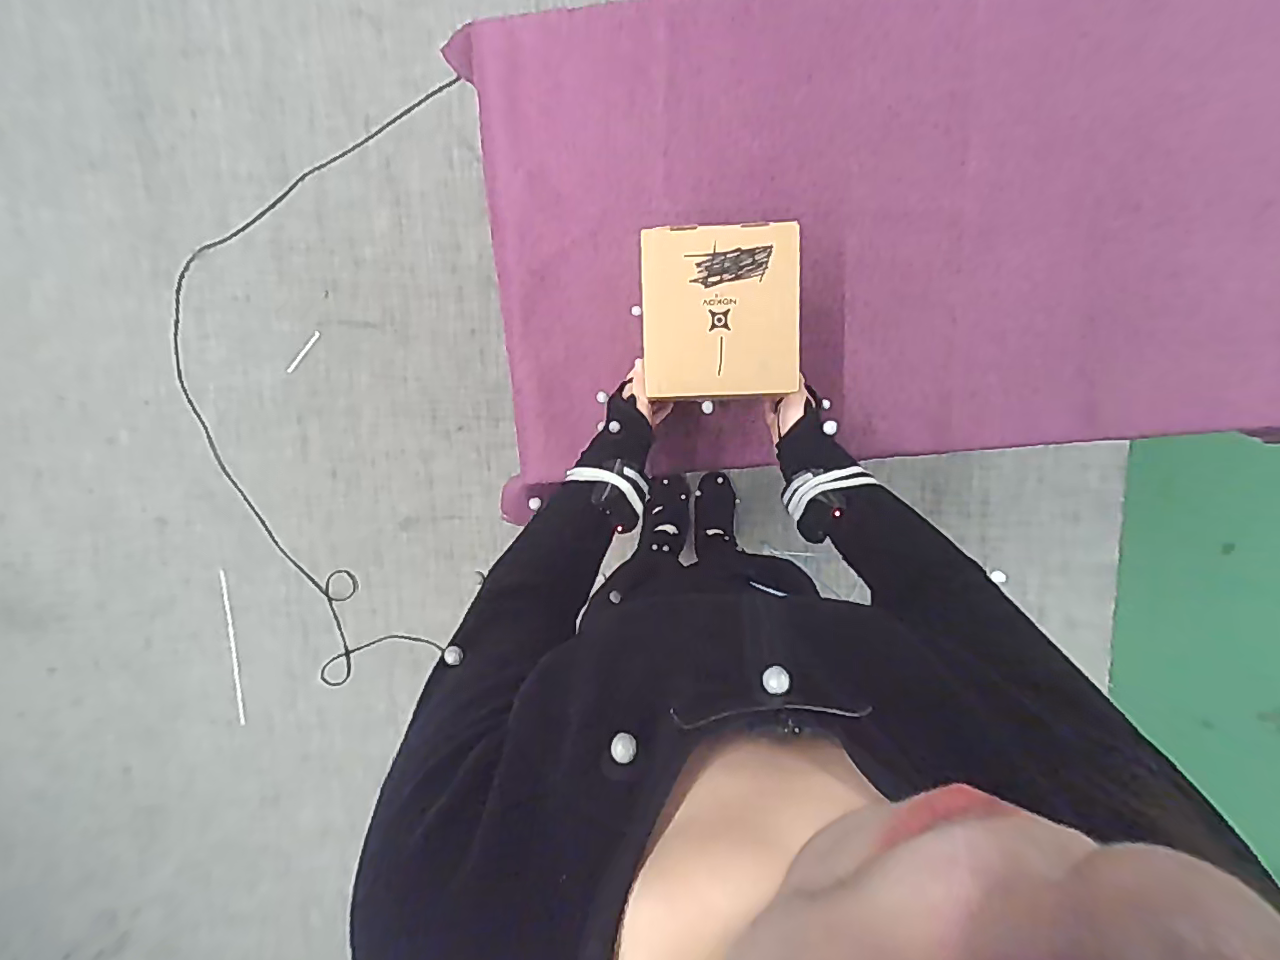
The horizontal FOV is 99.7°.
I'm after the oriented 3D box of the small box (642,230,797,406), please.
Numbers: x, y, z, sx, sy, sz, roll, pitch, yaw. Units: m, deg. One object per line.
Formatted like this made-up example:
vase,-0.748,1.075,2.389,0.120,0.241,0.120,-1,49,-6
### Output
small box,0.086,-0.181,0.651,0.168,0.176,0.179,-1,97,3
